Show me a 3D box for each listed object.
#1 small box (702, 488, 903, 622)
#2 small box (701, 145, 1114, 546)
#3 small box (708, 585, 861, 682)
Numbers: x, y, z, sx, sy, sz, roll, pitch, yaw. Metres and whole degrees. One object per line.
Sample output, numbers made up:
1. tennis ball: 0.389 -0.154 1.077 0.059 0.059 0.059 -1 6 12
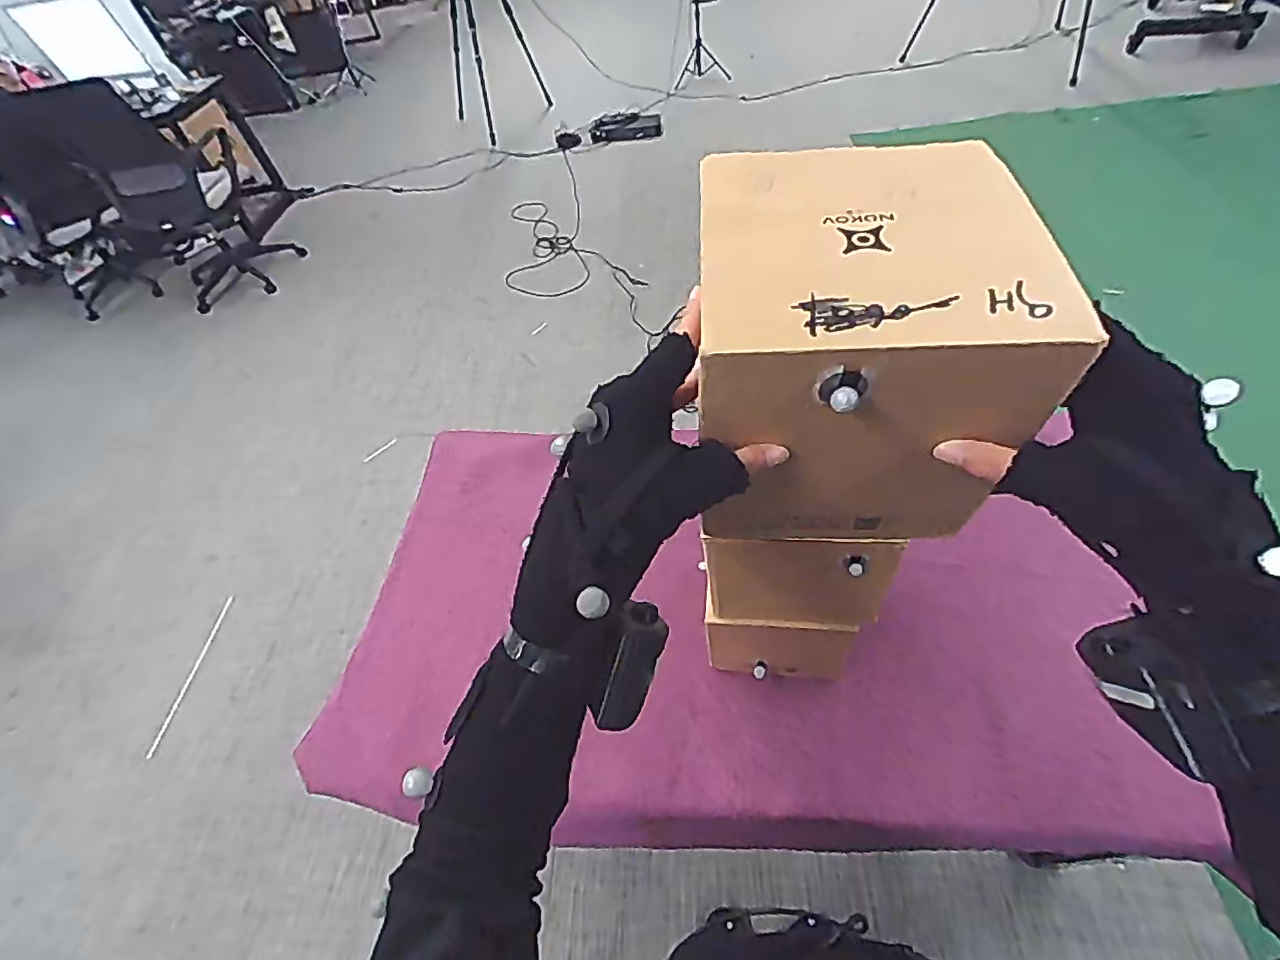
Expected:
1. small box: 0.161 0.039 0.570 0.179 0.176 0.168 -1 52 10
2. small box: 0.122 -0.077 0.337 0.168 0.176 0.179 -1 55 7
3. small box: 0.177 0.140 0.696 0.168 0.176 0.179 1 53 12
